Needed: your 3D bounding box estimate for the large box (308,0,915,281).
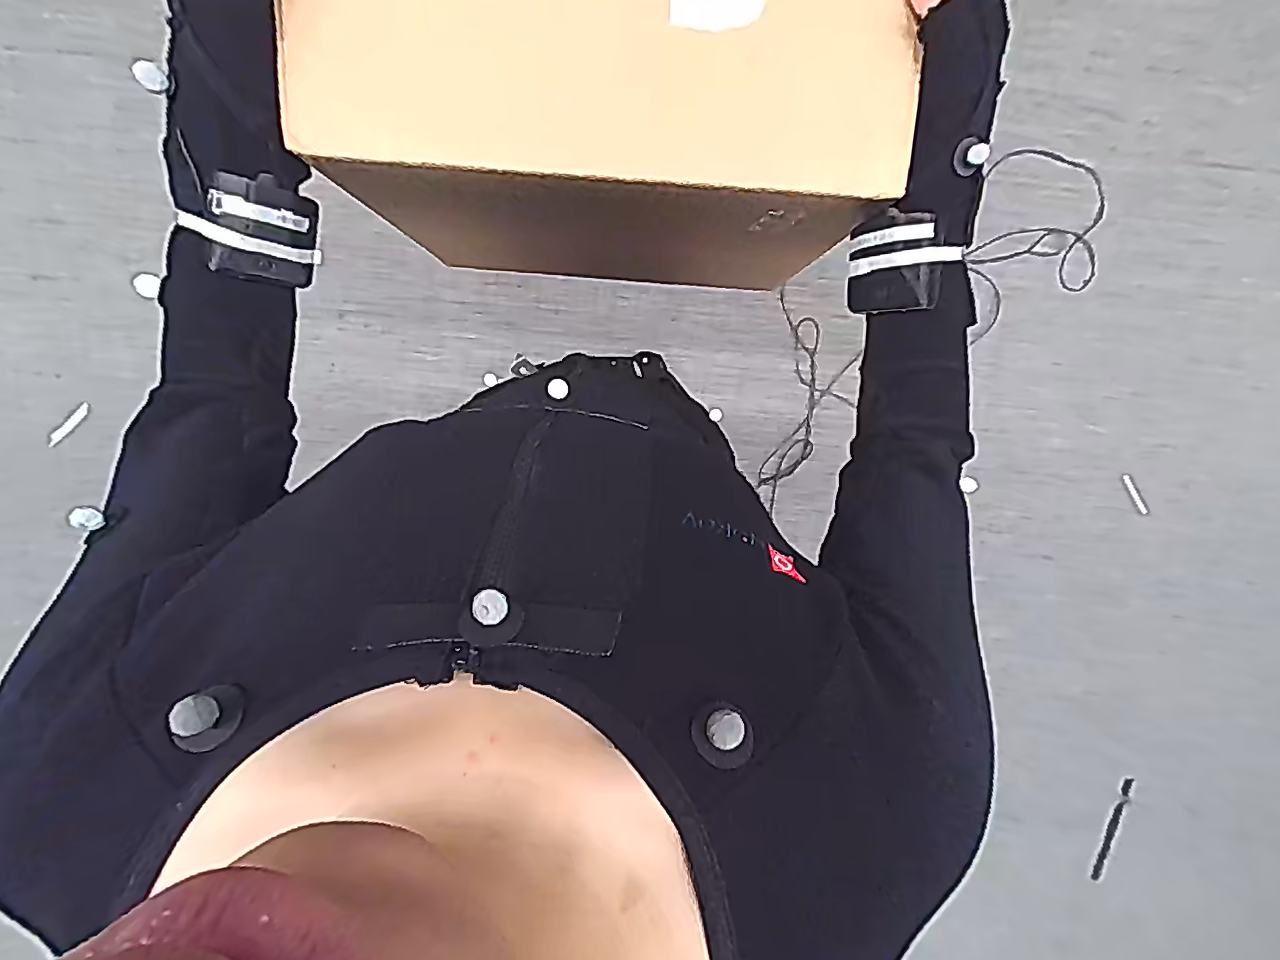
[{"bbox_3d":[-0.019,-0.382,0.494,0.408,0.320,0.320,3,99,-2],"label":"large box"}]
